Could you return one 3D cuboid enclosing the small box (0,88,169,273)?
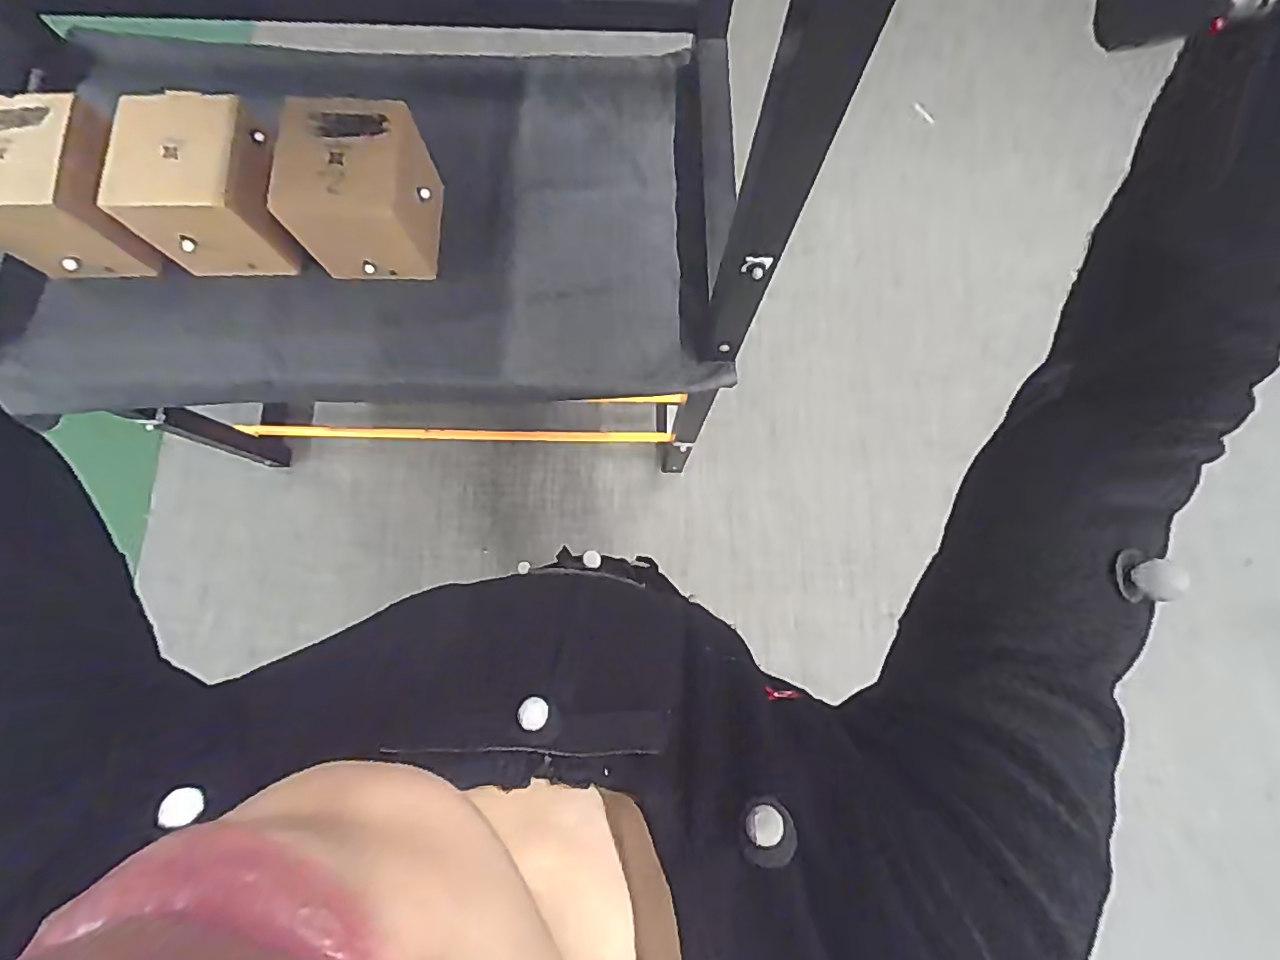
[{"bbox_3d":[-0.844,-0.428,0.790,0.168,0.176,0.179,-2,79,-1],"label":"small box"}]
